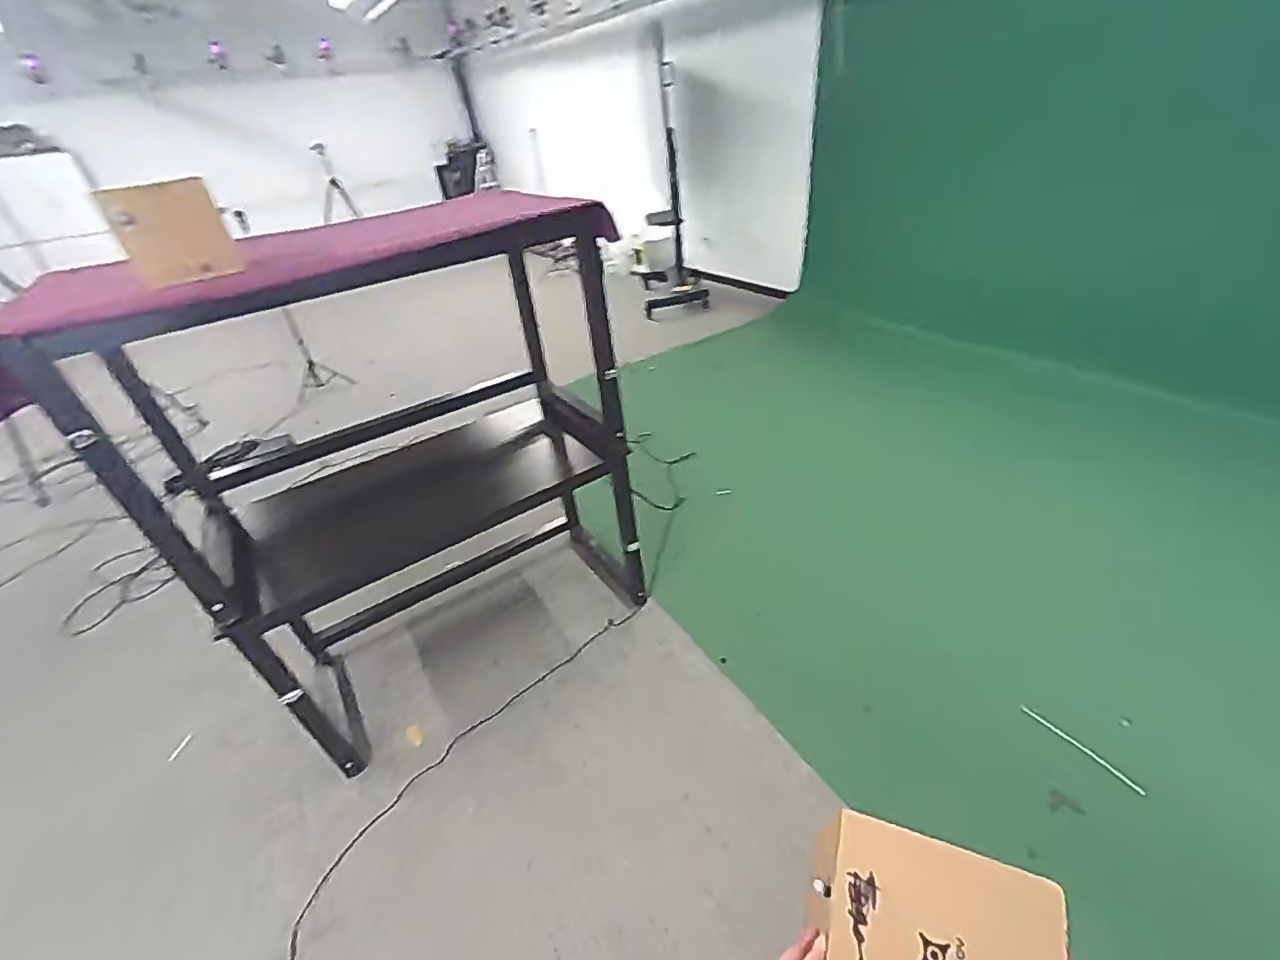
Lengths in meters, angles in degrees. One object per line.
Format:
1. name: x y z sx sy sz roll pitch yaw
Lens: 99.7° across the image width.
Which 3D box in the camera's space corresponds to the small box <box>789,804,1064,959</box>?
1. small box: 0.240 0.420 0.482 0.179 0.176 0.168 12 52 16
